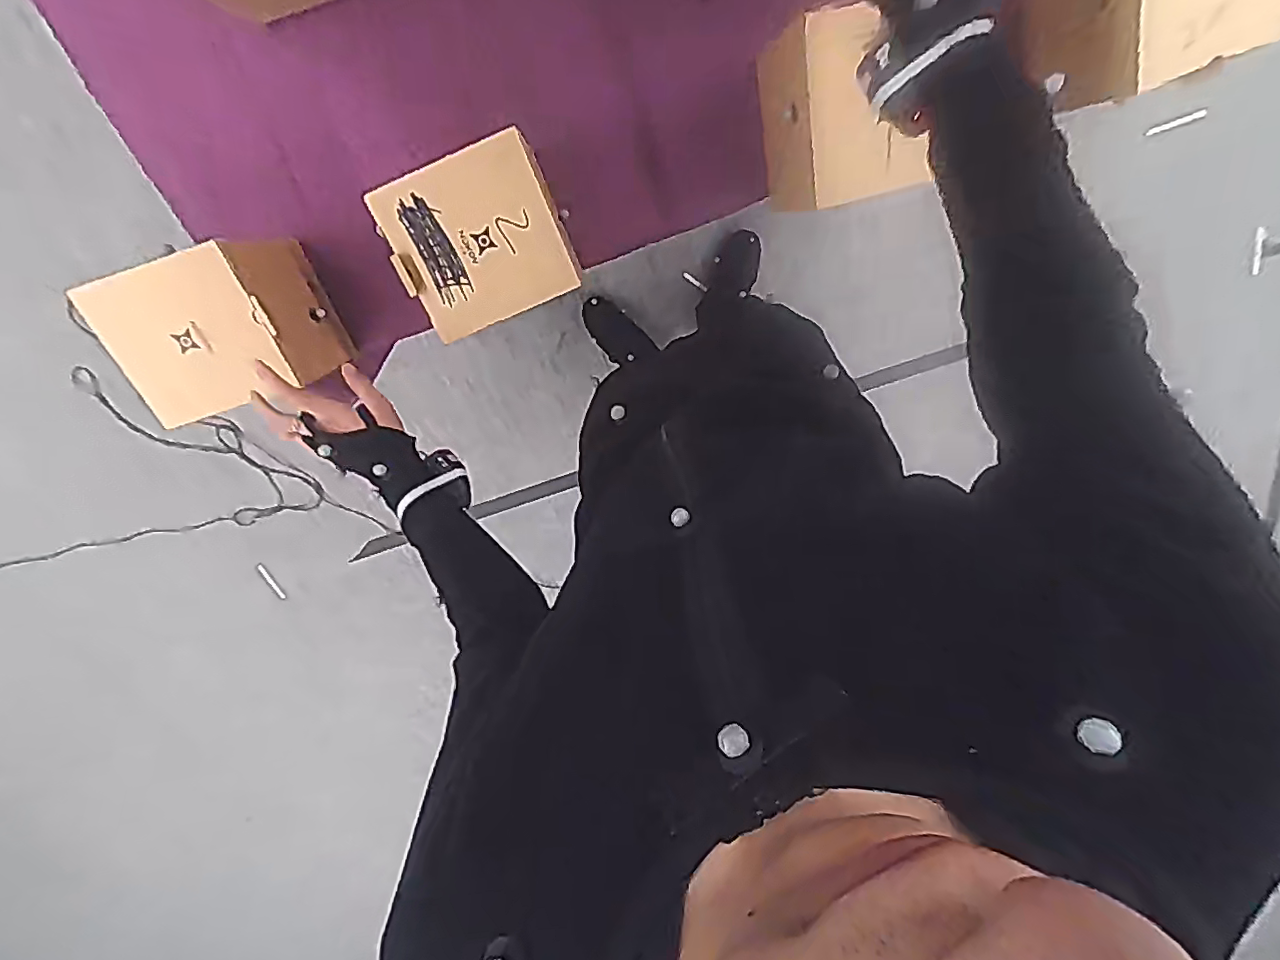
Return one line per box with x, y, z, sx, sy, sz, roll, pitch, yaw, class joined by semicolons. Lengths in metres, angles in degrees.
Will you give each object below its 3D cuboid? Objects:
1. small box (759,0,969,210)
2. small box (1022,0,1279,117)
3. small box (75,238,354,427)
0.244;-0.425;0.624;0.168;0.176;0.179;-13;117;2;small box
0.556;-0.539;0.595;0.168;0.176;0.179;-19;115;5;small box
-0.501;-0.188;0.672;0.179;0.176;0.168;-18;115;2;small box
